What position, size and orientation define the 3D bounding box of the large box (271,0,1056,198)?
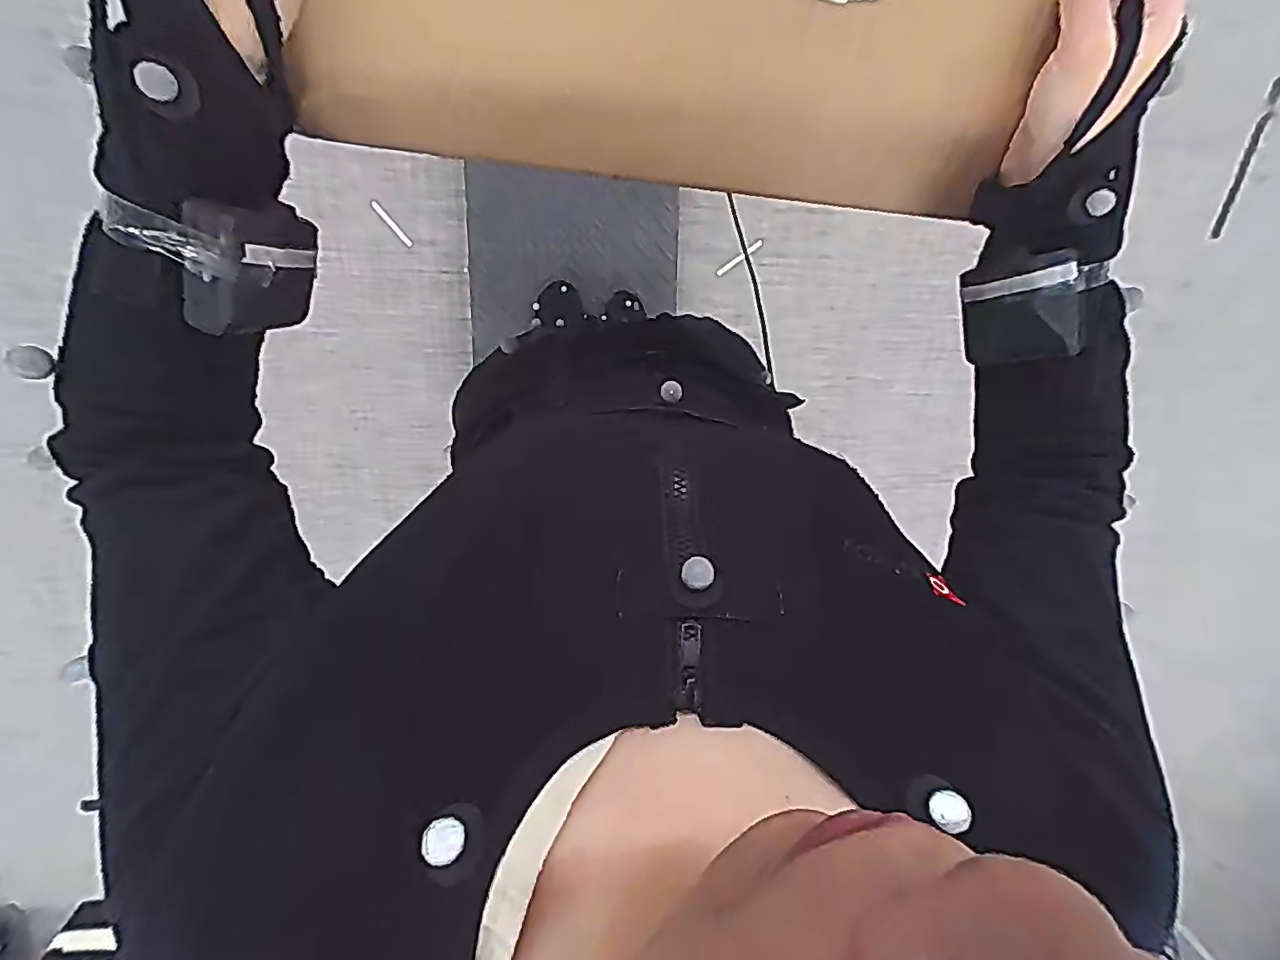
[{"bbox_3d":[0.013,-0.394,0.336,0.408,0.320,0.320,1,129,-11],"label":"large box"}]
